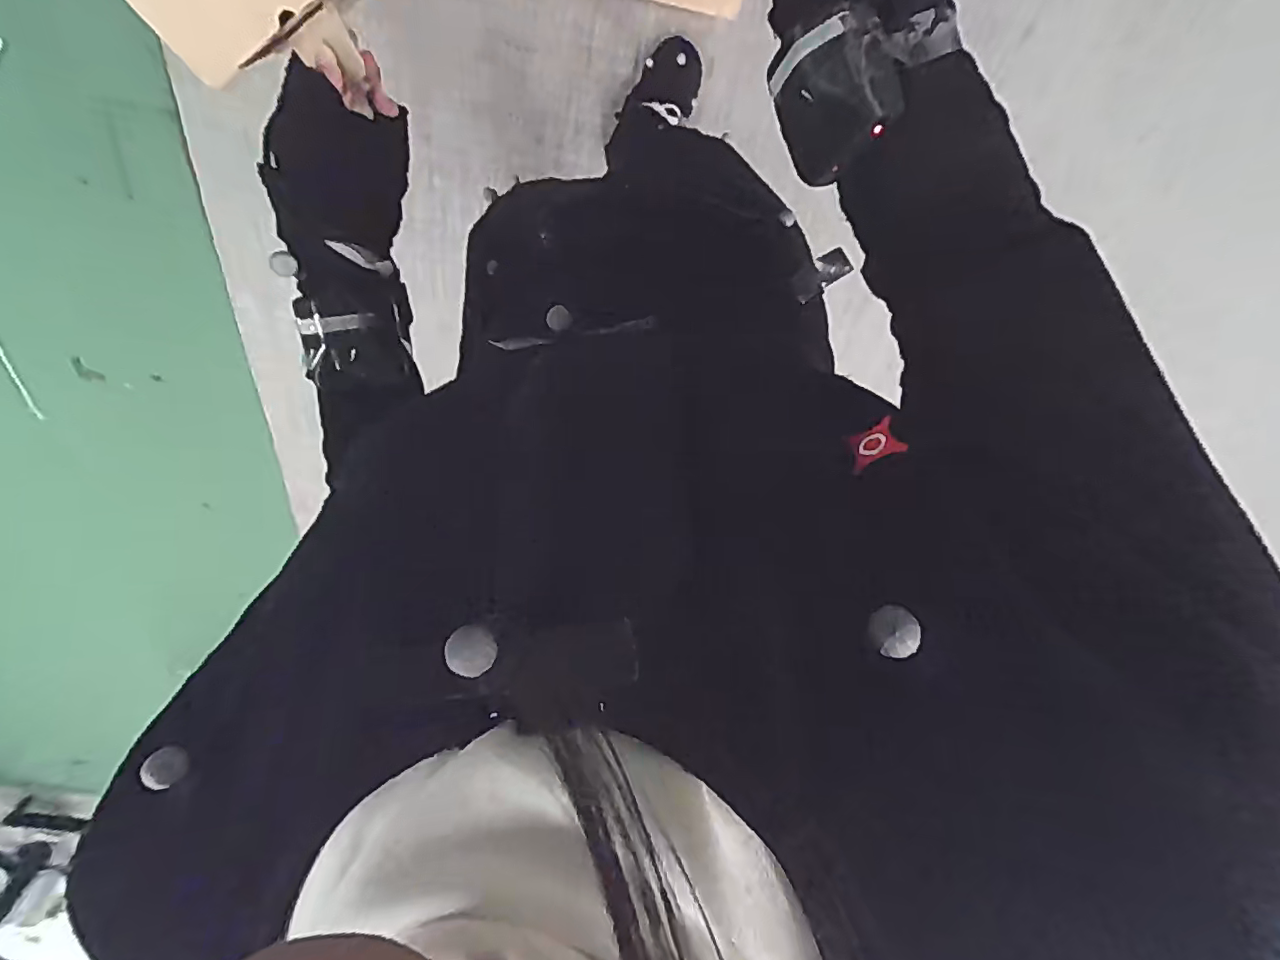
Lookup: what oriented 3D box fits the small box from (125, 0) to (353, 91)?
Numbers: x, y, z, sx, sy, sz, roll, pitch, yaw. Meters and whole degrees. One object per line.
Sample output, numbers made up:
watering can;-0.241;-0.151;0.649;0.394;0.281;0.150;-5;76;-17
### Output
small box;-0.232;-0.378;0.305;0.168;0.176;0.179;-13;138;26
